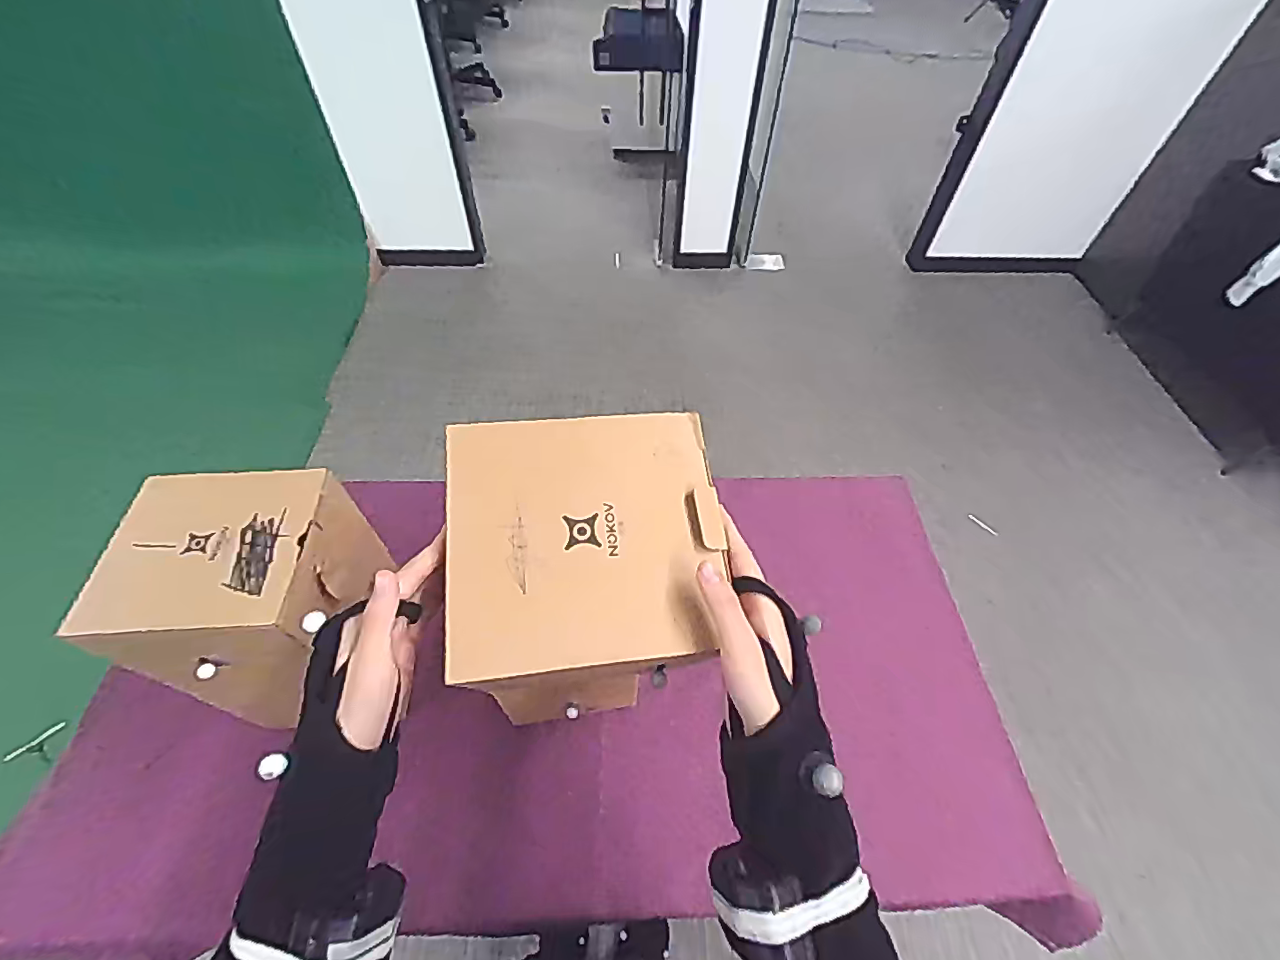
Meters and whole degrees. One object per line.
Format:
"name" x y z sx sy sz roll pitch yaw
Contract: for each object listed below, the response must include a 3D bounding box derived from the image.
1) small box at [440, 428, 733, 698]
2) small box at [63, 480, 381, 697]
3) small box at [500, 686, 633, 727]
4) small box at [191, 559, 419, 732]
"small box" -0.044 0.073 0.419 0.179 0.176 0.168 -4 67 -7
"small box" -0.396 0.116 0.559 0.179 0.176 0.168 -3 54 -3
"small box" -0.102 0.204 0.709 0.168 0.176 0.179 -7 54 -6
"small box" -0.401 0.214 0.692 0.179 0.176 0.168 -2 53 -5
